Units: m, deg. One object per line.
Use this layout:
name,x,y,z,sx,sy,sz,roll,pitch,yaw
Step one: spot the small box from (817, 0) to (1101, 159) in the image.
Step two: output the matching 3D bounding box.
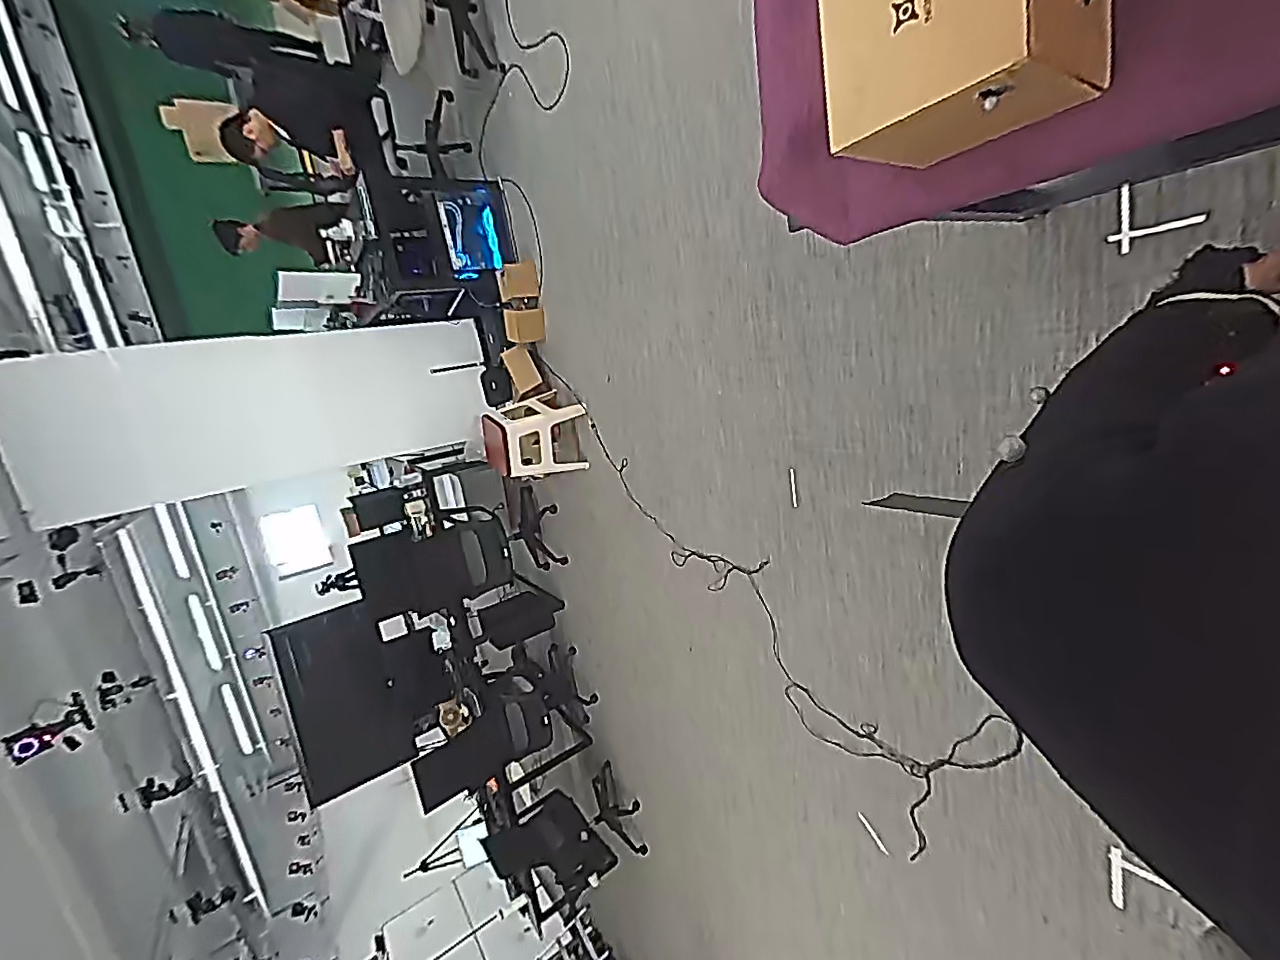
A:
small box,0.295,-0.425,0.508,0.179,0.176,0.168,6,109,55
